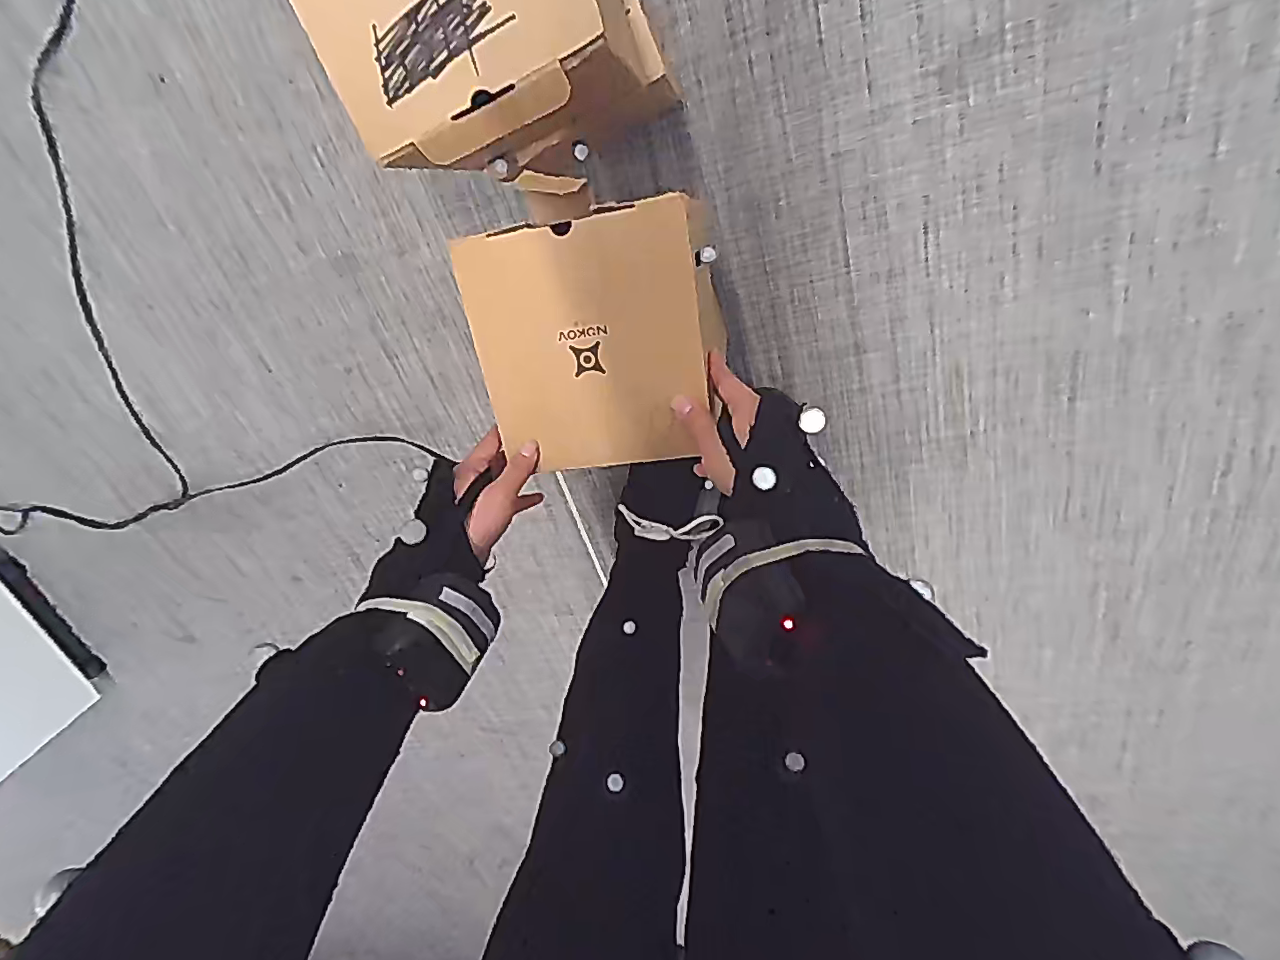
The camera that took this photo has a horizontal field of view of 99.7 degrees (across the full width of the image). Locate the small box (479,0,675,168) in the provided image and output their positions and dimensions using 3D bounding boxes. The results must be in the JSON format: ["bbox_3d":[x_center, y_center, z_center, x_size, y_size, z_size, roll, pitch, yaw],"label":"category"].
[{"bbox_3d":[-0.081,-0.411,0.500,0.179,0.176,0.168,-20,114,19],"label":"small box"}]

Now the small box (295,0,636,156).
[{"bbox_3d":[-0.113,-0.338,0.355,0.168,0.176,0.179,-15,115,16],"label":"small box"}]

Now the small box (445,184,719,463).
[{"bbox_3d":[-0.026,-0.131,0.453,0.168,0.176,0.179,-6,113,13],"label":"small box"}]
